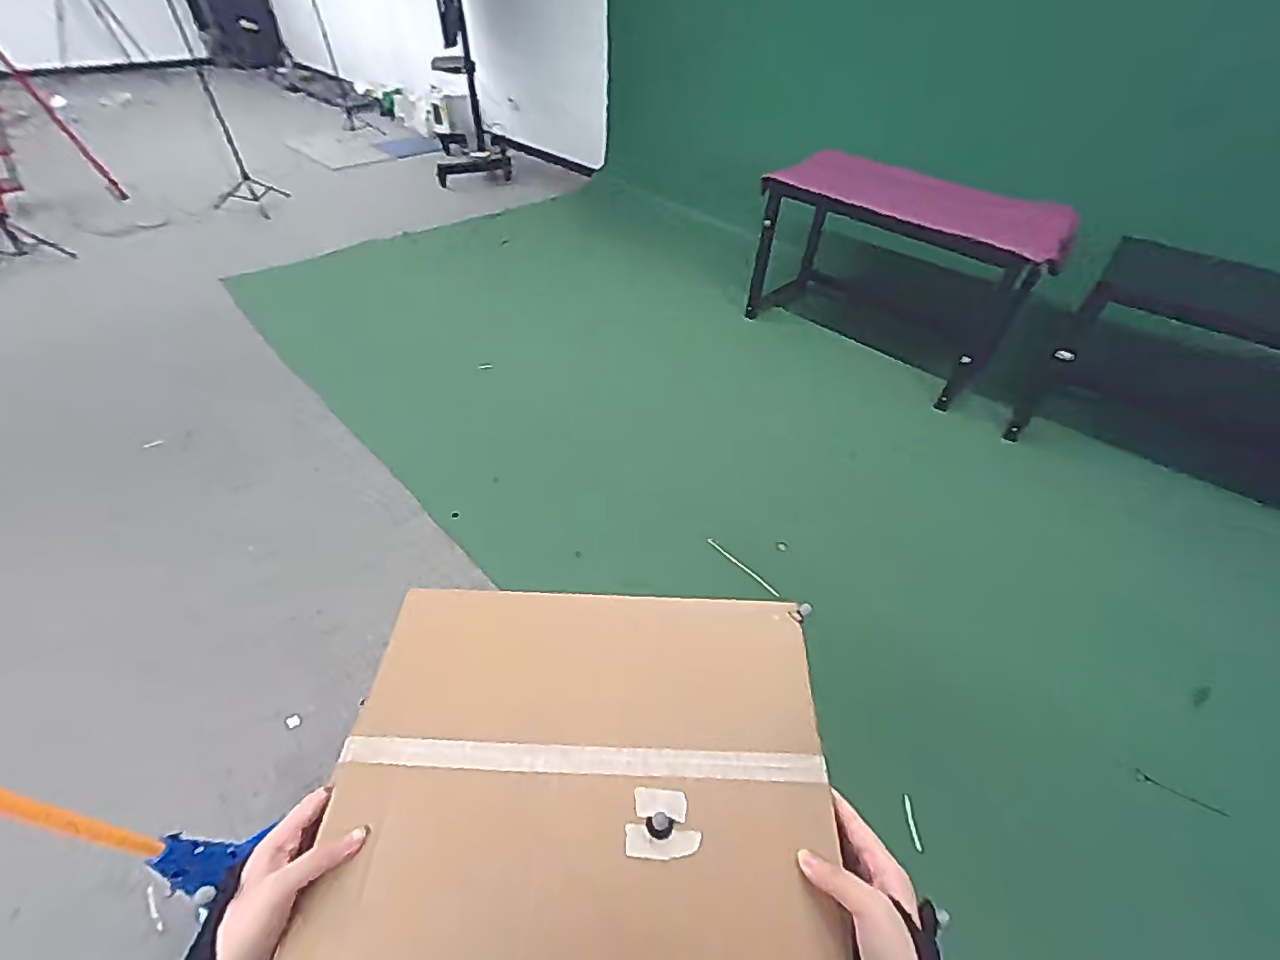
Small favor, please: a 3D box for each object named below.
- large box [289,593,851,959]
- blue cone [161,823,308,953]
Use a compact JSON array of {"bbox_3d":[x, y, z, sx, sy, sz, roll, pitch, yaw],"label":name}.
[{"bbox_3d":[-0.050,0.337,0.581,0.408,0.320,0.320,2,49,0],"label":"large box"},{"bbox_3d":[-0.844,0.774,1.077,0.192,0.380,0.193,-24,51,-27],"label":"blue cone"}]
